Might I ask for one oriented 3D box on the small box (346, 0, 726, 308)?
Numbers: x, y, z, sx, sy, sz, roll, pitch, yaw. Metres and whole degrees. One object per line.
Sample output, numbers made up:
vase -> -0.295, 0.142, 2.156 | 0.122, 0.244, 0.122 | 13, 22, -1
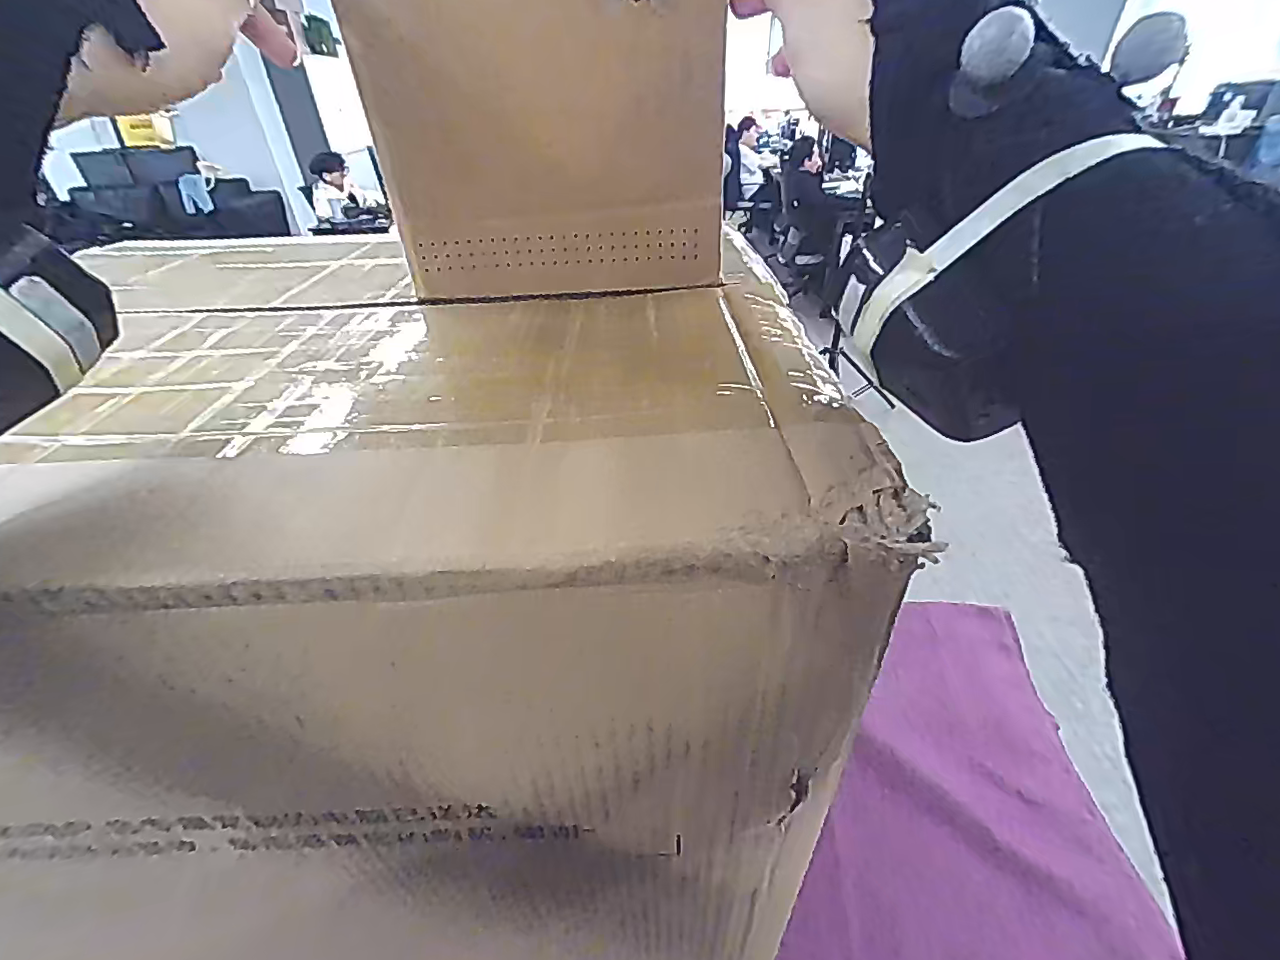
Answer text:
small box -> -0.044, -0.209, 0.325 | 0.179, 0.176, 0.168 | -2, 35, 1
